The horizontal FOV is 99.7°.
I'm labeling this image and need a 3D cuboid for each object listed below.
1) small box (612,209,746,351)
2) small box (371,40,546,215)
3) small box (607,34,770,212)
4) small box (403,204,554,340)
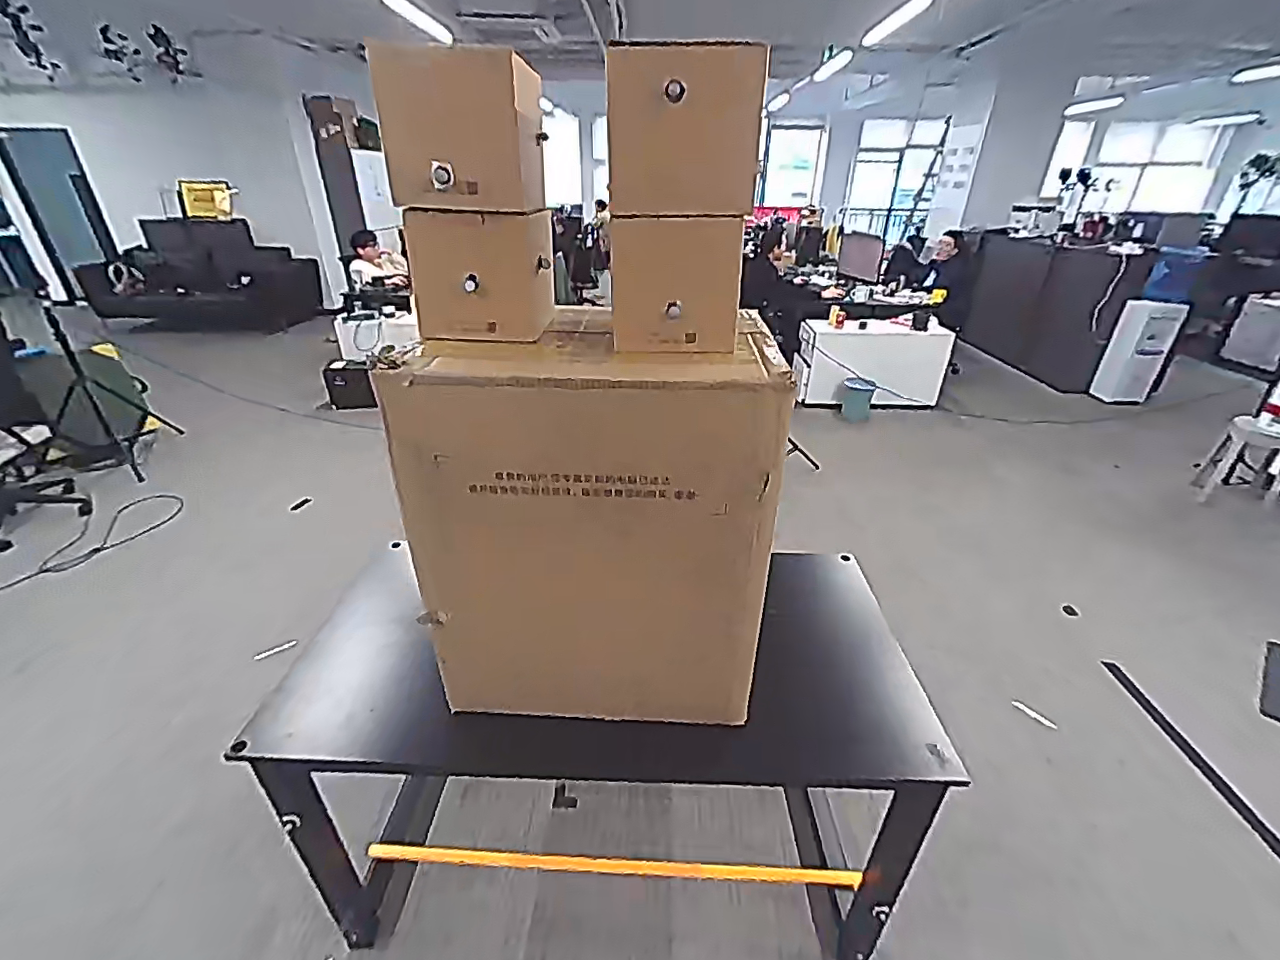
[{"bbox_3d":[0.051,-0.287,0.760,0.168,0.176,0.179,0,29,2],"label":"small box"},{"bbox_3d":[-0.218,-0.447,0.705,0.168,0.176,0.179,1,29,0],"label":"small box"},{"bbox_3d":[0.055,-0.429,0.675,0.179,0.176,0.168,1,29,1],"label":"small box"},{"bbox_3d":[-0.221,-0.310,0.796,0.168,0.176,0.179,2,29,0],"label":"small box"}]
